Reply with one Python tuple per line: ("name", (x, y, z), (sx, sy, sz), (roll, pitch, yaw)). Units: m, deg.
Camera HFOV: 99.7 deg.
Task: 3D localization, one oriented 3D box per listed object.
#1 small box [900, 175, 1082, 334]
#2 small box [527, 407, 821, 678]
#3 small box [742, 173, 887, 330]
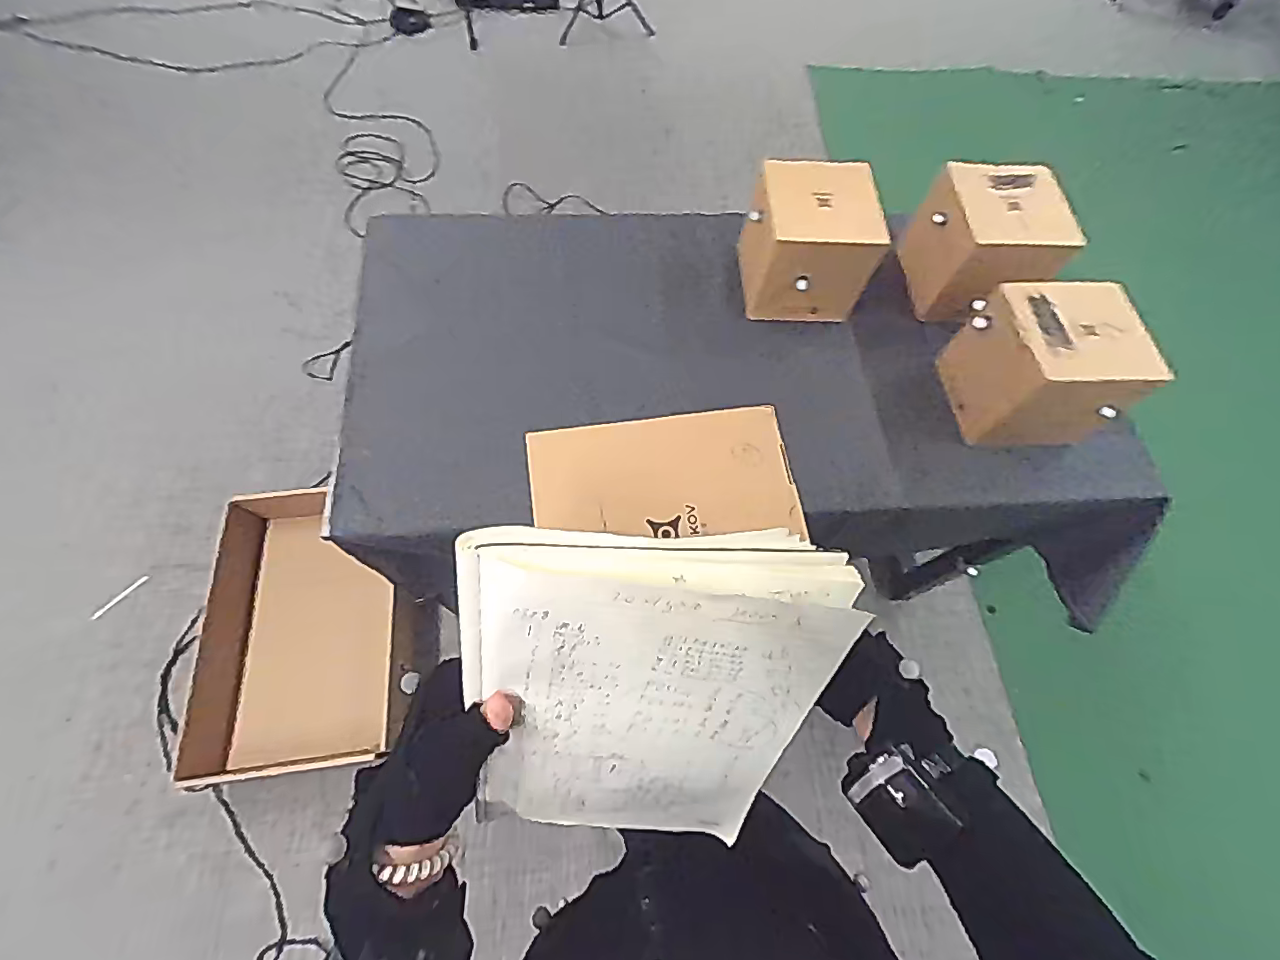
("small box", (0.558, -0.366, 0.891), (0.168, 0.176, 0.179), (0, 65, -3))
("small box", (0.012, 0.058, 0.426), (0.179, 0.176, 0.168), (-6, 70, -6))
("small box", (0.269, -0.362, 0.874), (0.168, 0.176, 0.179), (1, 64, -3))
